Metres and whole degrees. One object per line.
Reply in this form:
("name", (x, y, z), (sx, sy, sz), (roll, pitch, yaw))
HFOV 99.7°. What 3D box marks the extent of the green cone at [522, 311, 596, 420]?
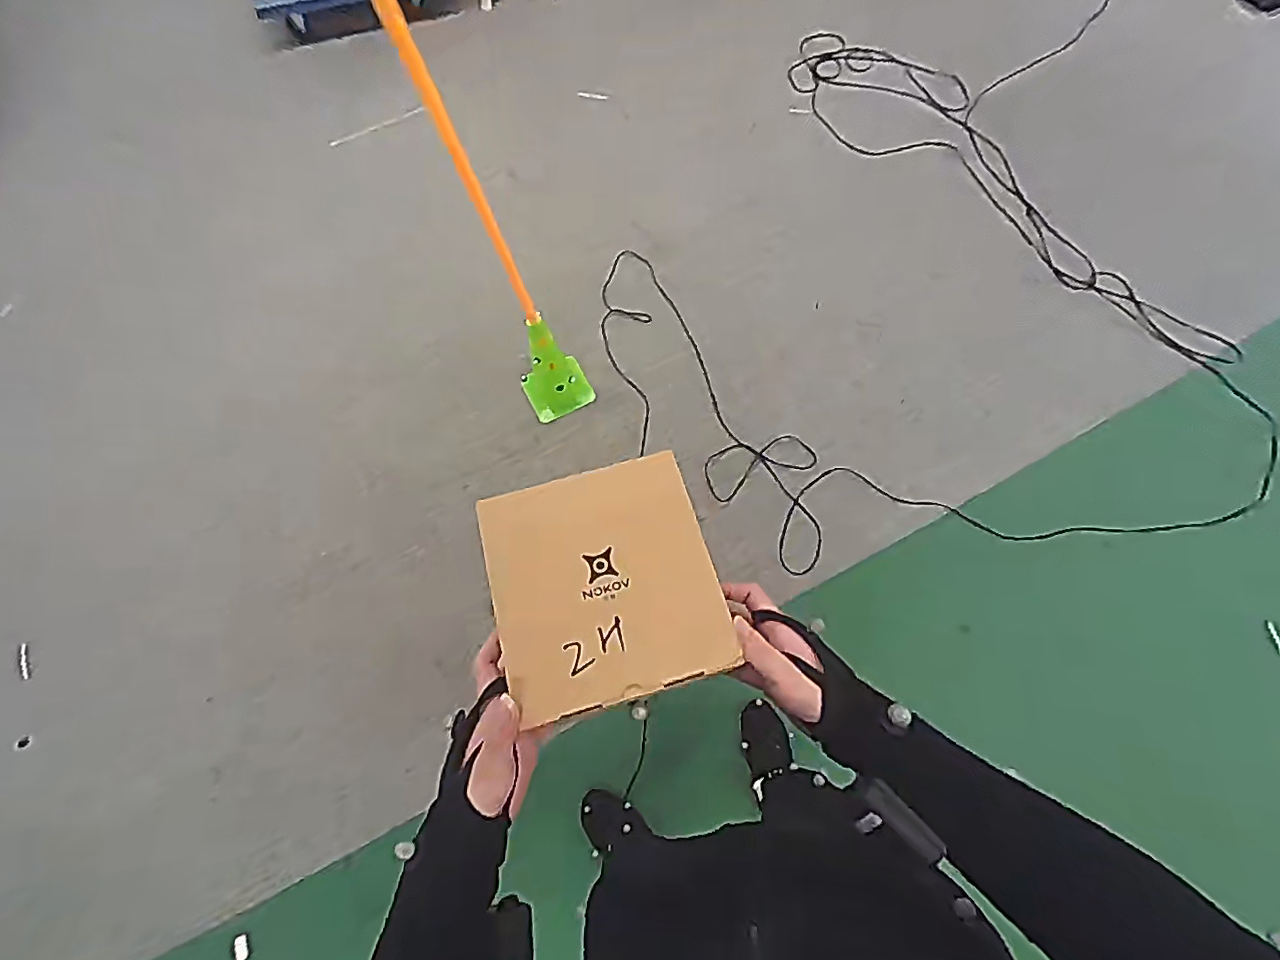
("green cone", (-0.271, -0.372, 1.631), (0.202, 0.368, 0.200), (-26, 70, -9))
